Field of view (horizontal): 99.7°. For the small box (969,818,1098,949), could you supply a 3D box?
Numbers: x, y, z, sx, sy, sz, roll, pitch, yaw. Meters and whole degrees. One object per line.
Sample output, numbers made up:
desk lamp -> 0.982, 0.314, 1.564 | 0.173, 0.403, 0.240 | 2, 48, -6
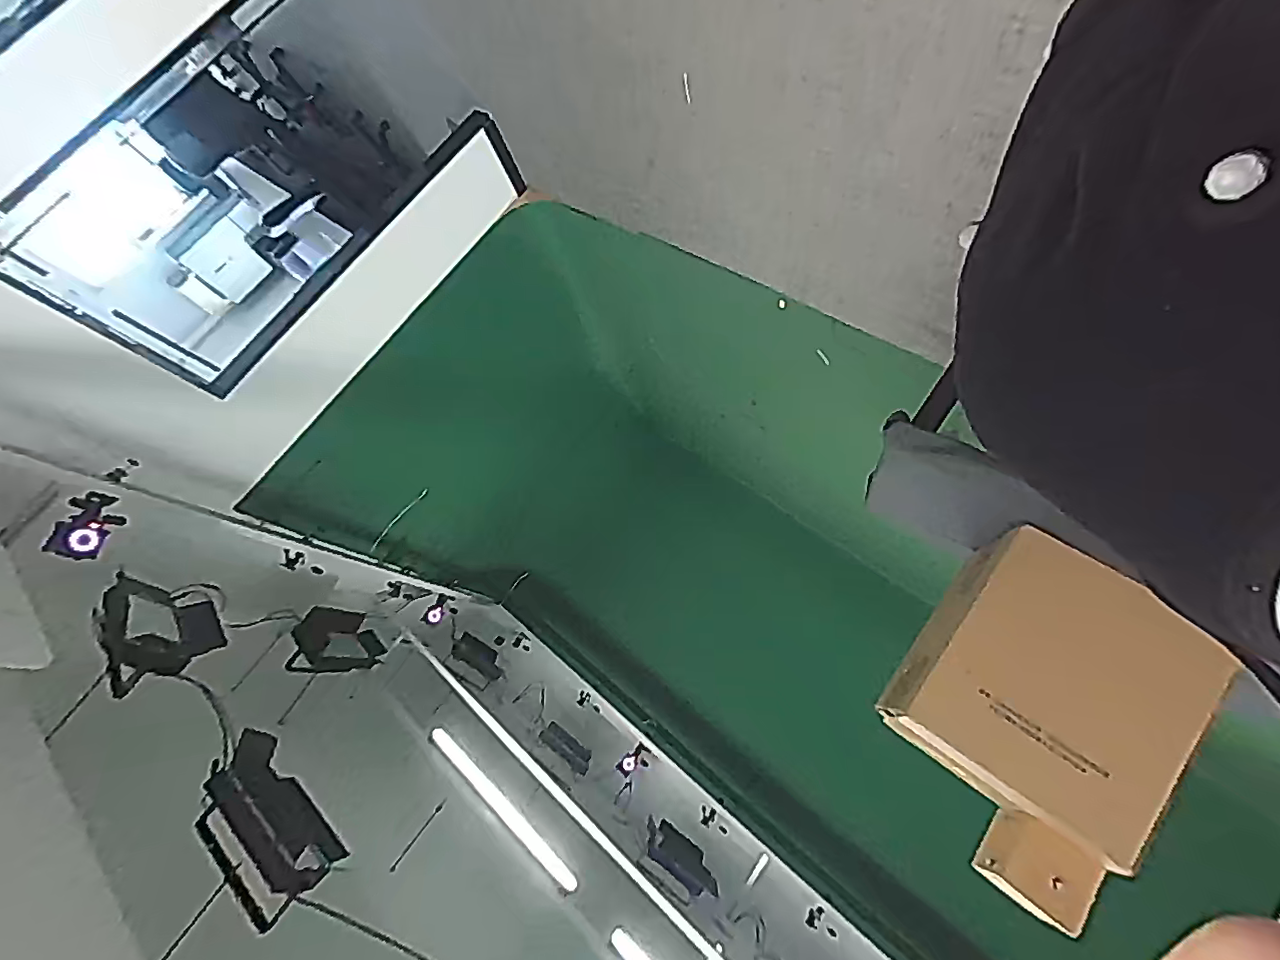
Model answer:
small box -> 0.962, 0.974, 1.324 | 0.179, 0.176, 0.168 | 34, 162, 21
